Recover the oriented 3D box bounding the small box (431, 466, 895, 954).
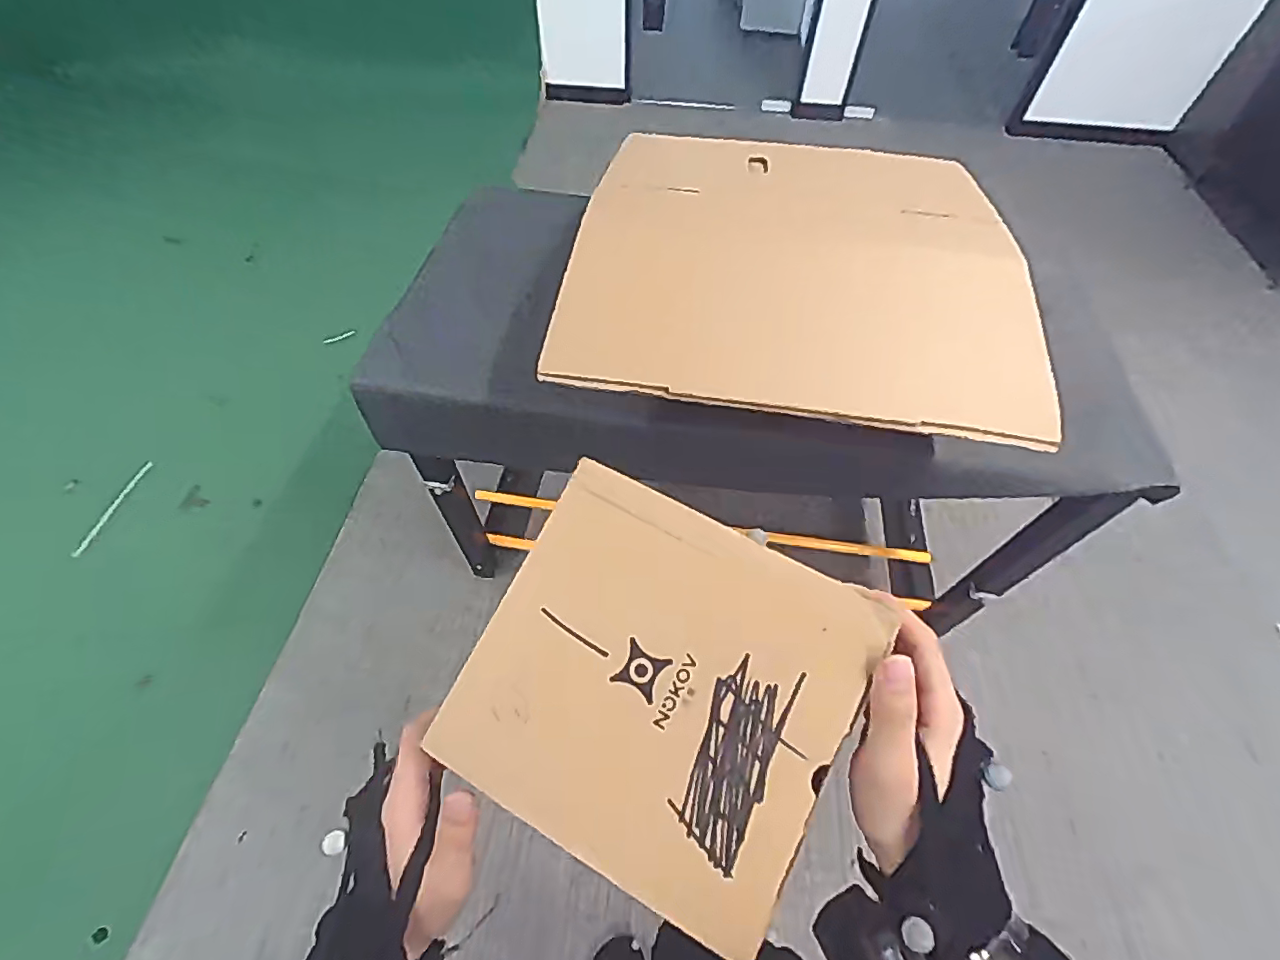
[{"bbox_3d":[0.018,0.116,0.339,0.179,0.176,0.168,27,80,13],"label":"small box"}]
